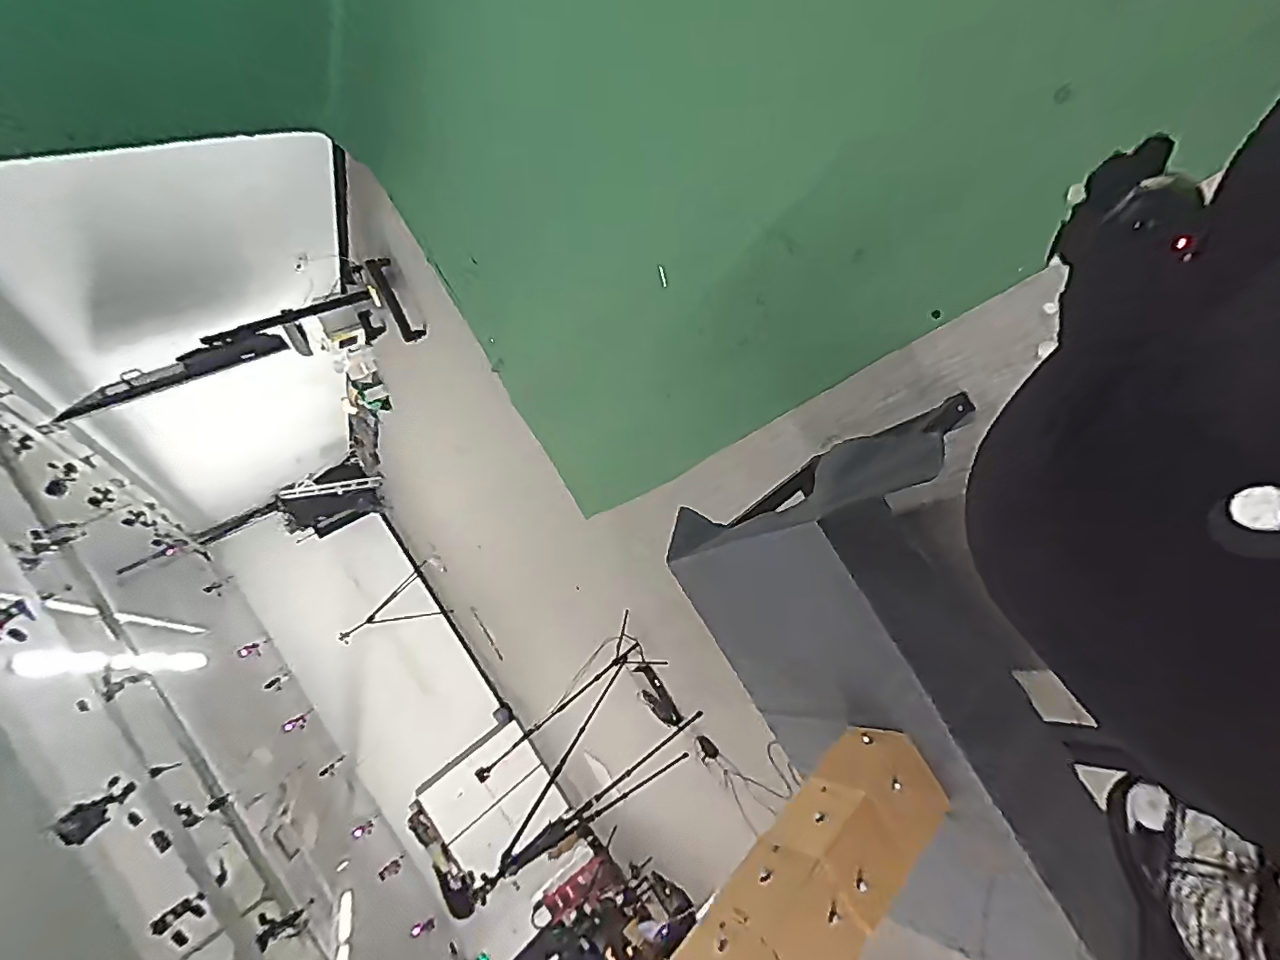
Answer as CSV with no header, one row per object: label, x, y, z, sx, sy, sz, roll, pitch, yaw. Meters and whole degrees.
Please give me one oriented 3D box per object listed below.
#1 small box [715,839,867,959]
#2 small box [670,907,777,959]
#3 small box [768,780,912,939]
small box,0.280,0.820,1.007,0.179,0.176,0.168,60,149,0
small box,0.161,0.899,0.924,0.179,0.176,0.168,59,148,1
small box,0.401,0.744,1.087,0.179,0.176,0.168,58,149,1
